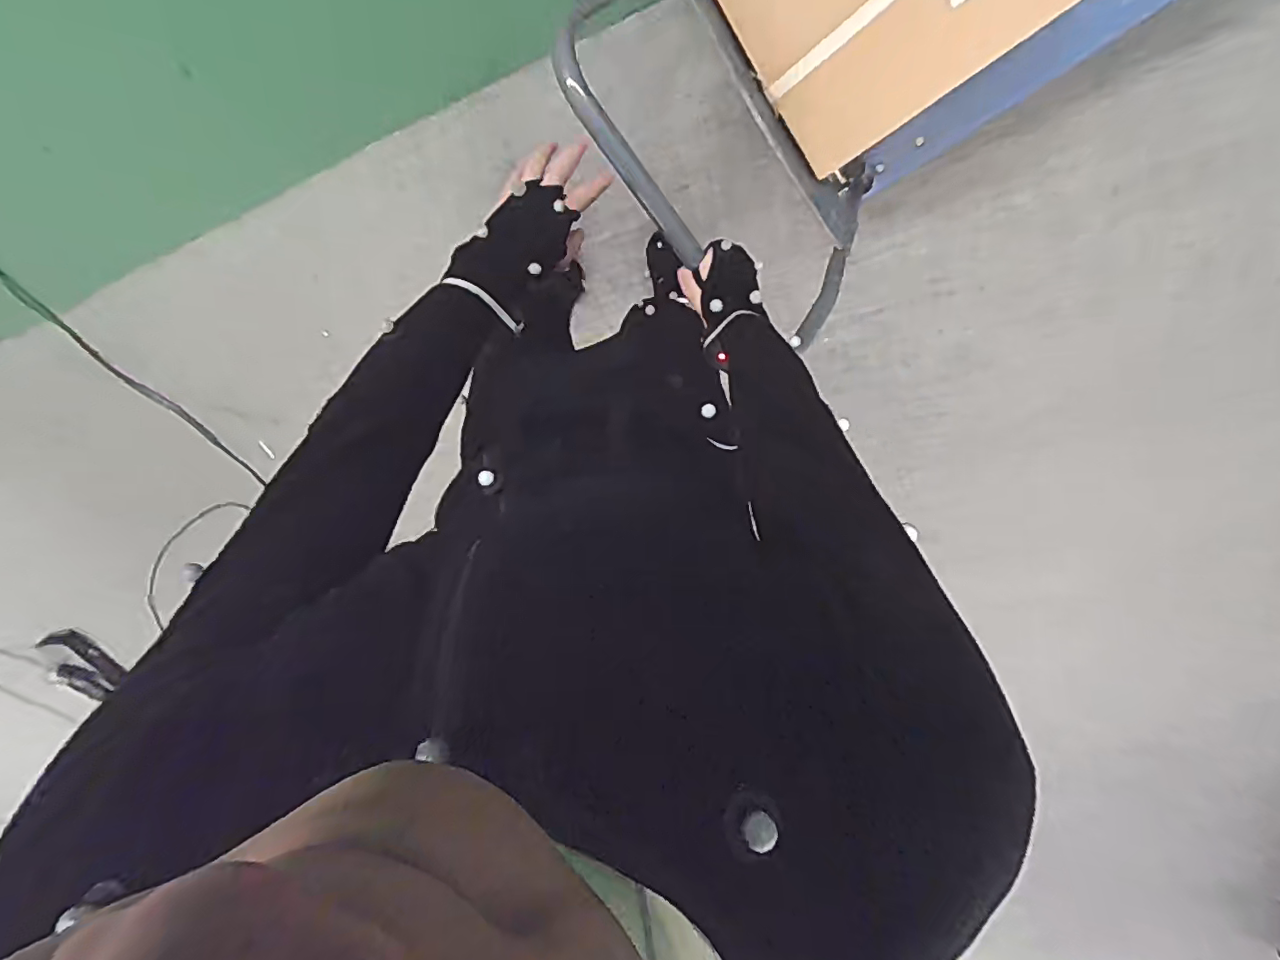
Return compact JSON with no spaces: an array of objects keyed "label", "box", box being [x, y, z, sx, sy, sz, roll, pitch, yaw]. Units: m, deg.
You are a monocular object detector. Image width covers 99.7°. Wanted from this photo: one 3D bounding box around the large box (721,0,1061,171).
[{"label":"large box","box":[0.389,-0.776,0.827,0.408,0.320,0.320,-22,121,38]}]
